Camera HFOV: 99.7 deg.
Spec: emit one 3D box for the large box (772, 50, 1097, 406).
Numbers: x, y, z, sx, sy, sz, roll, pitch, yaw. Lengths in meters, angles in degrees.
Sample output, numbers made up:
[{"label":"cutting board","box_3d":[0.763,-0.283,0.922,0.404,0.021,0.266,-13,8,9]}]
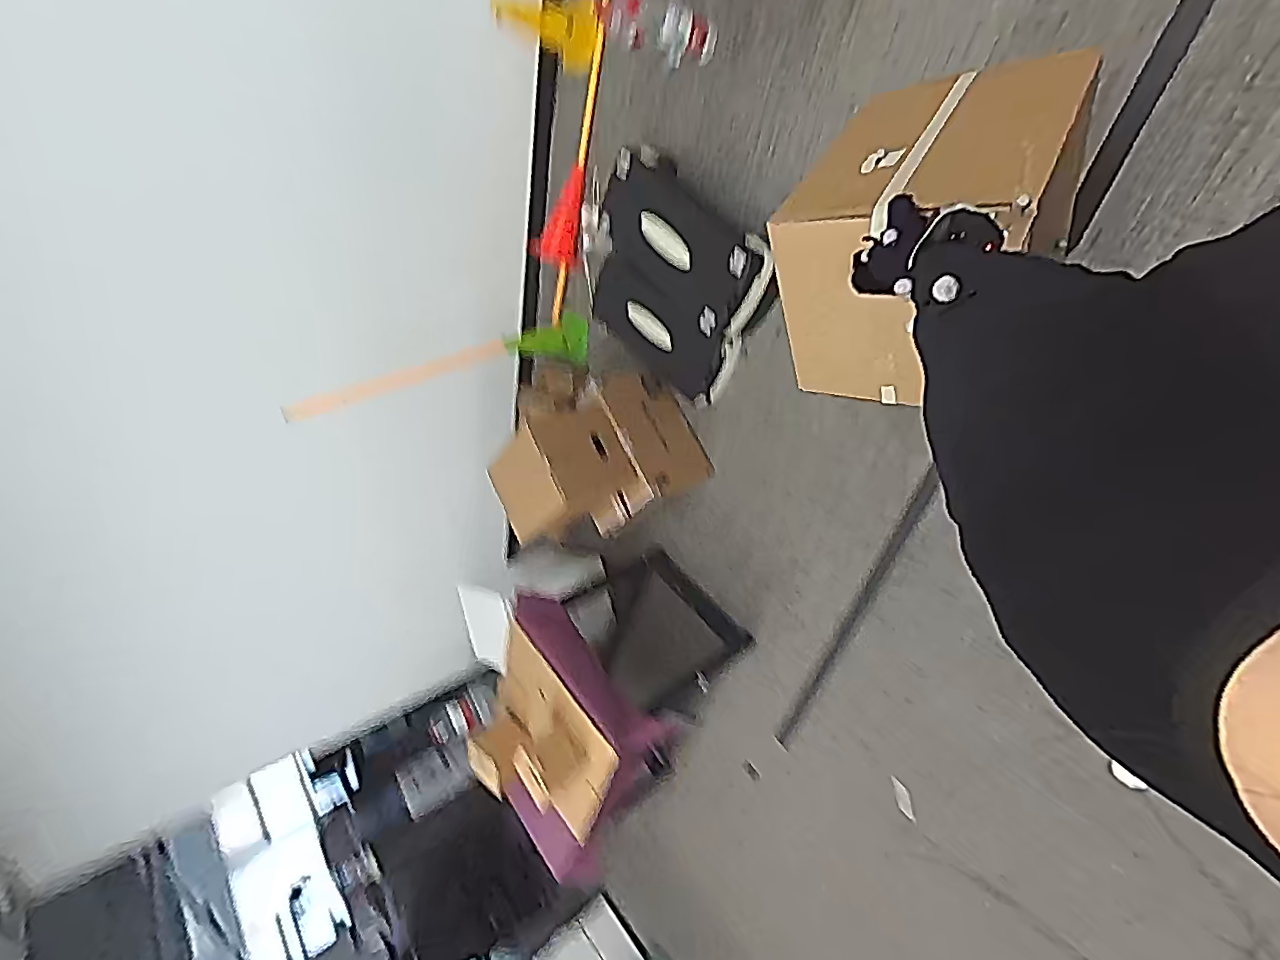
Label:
[{"label":"large box","box_3d":[0.454,-0.381,0.851,0.320,0.408,0.320,17,151,37]}]
